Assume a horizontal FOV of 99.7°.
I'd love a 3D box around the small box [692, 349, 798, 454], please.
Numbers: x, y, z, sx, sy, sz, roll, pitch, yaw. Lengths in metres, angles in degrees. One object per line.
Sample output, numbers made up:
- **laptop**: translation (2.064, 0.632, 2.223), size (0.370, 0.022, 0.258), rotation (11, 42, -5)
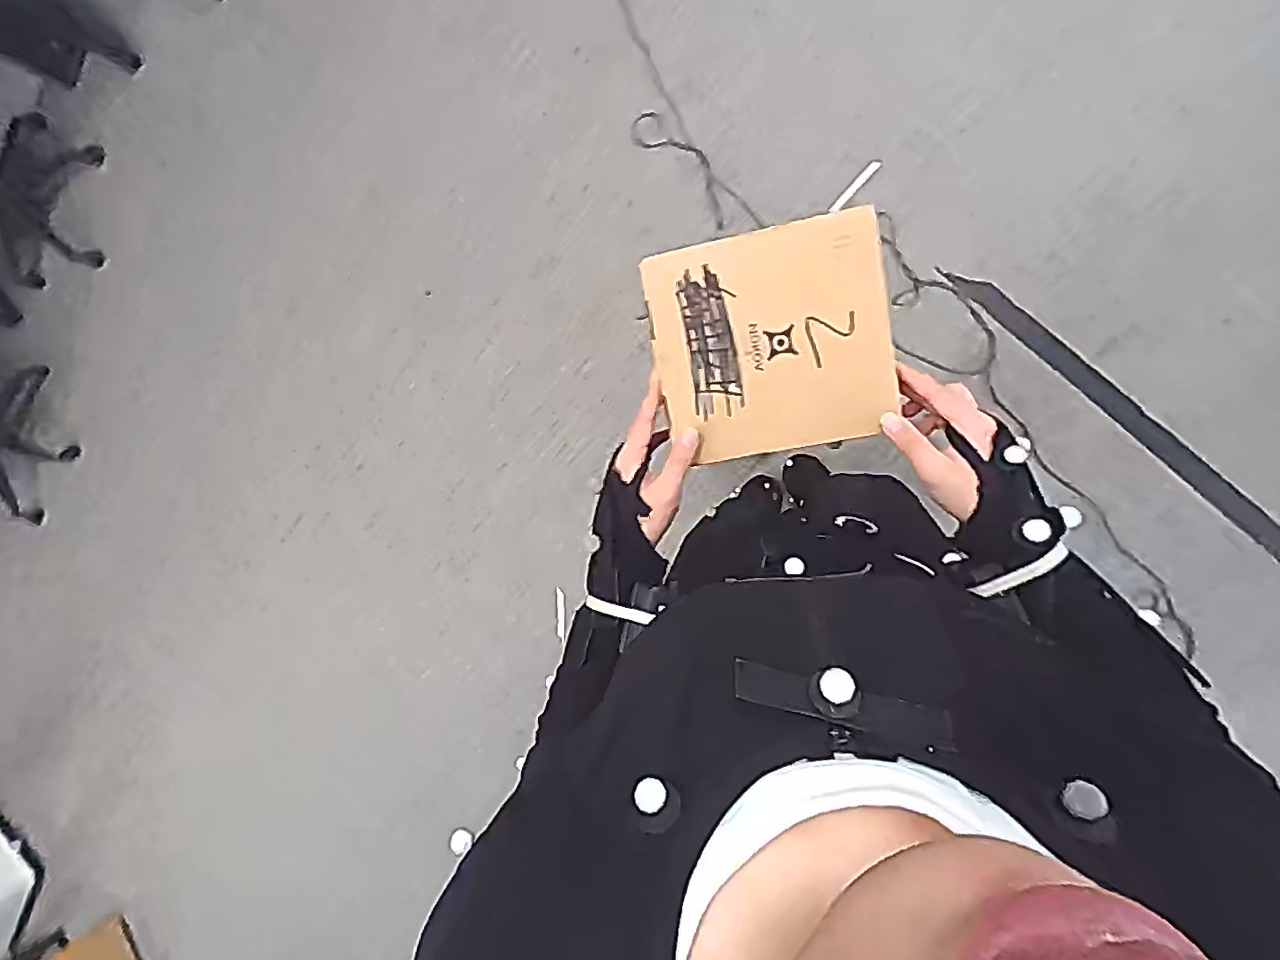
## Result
- **small box**: translation (0.250, -0.177, 1.268), size (0.168, 0.176, 0.179), rotation (-40, 83, 17)
